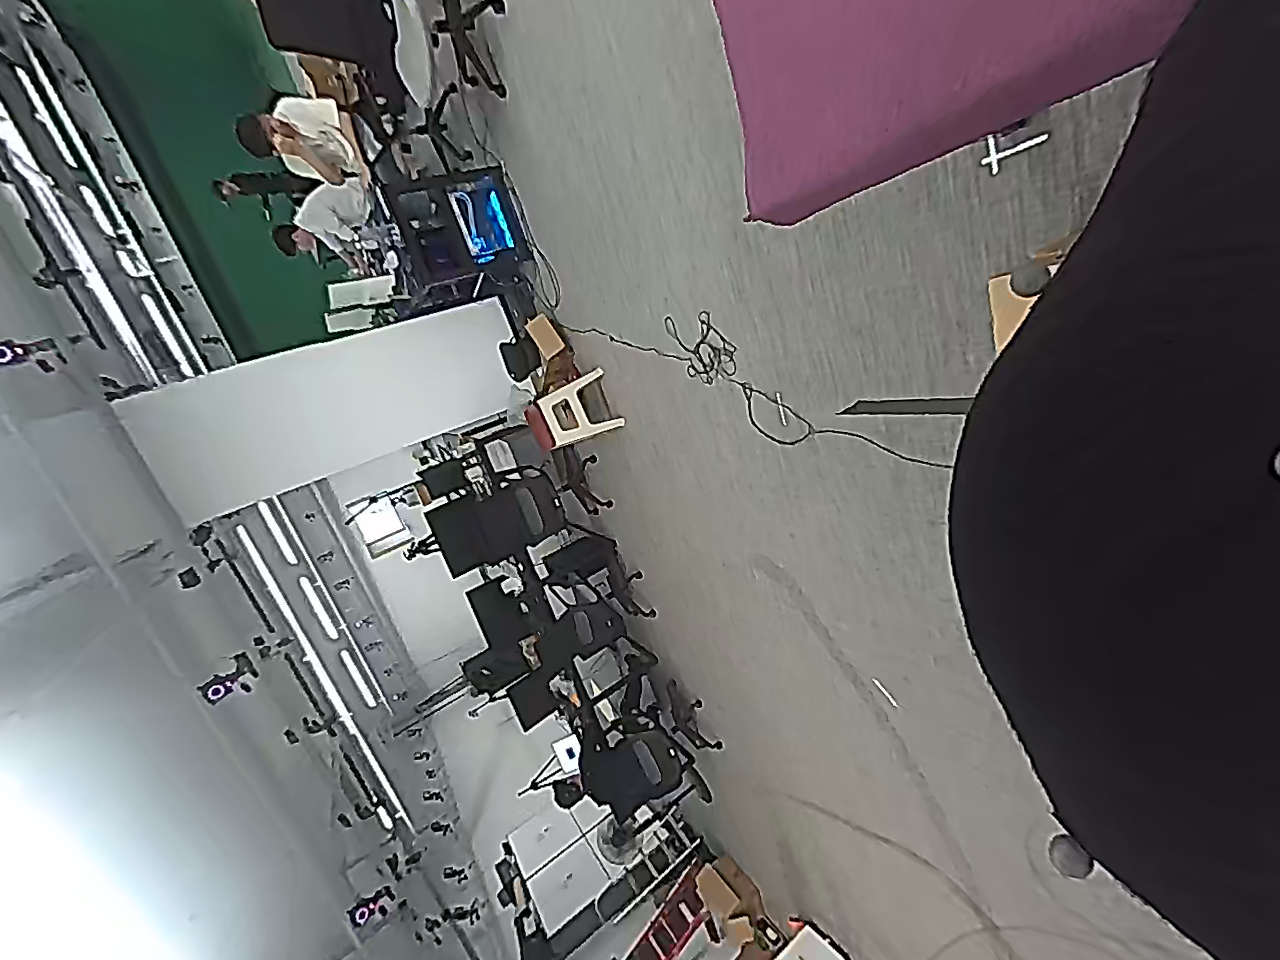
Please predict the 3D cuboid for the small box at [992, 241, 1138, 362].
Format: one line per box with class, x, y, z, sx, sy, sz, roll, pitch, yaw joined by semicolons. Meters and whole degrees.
small box;0.811;-0.340;1.031;0.168;0.176;0.179;11;124;60
